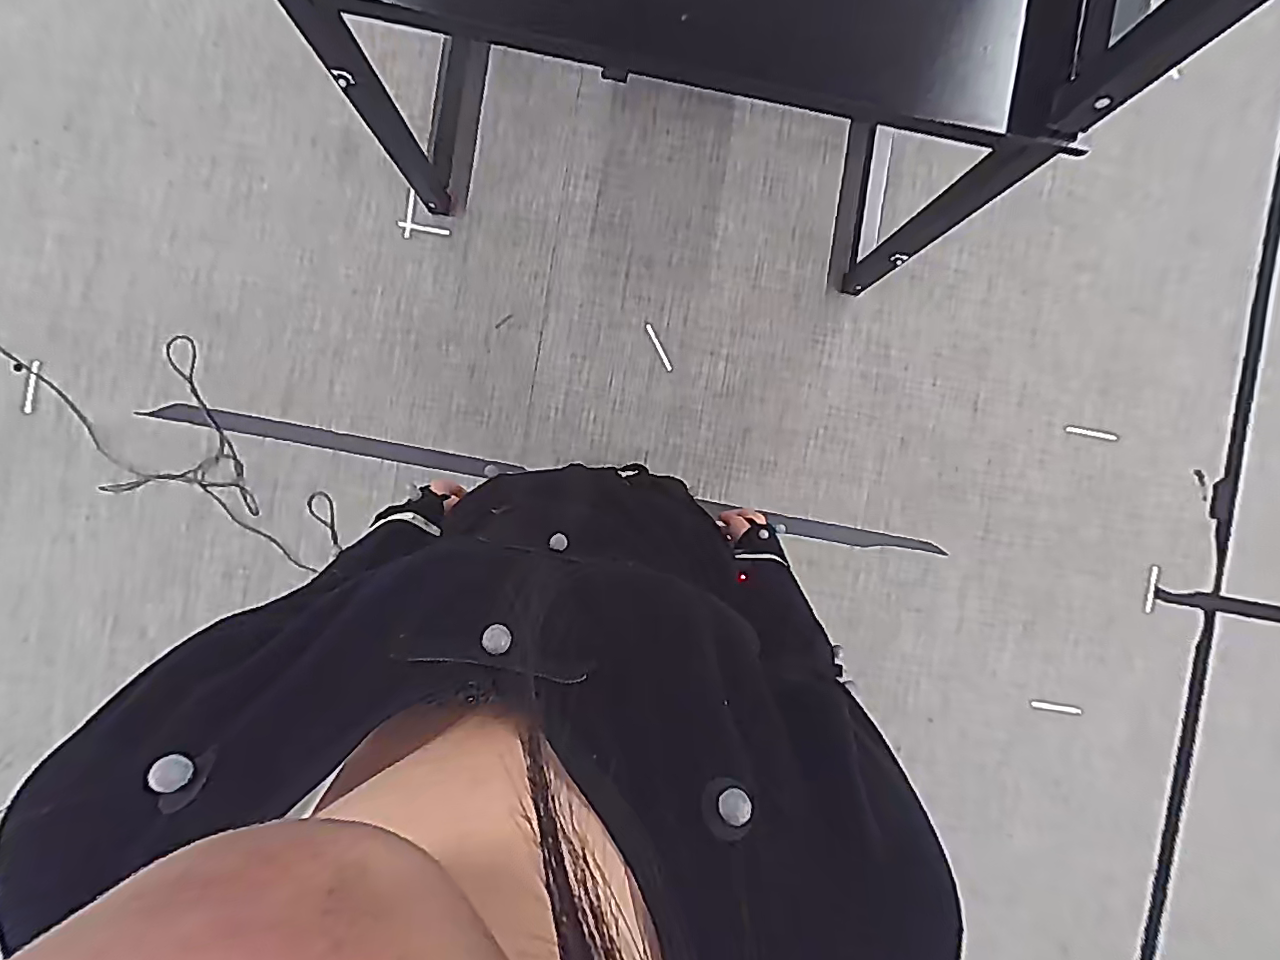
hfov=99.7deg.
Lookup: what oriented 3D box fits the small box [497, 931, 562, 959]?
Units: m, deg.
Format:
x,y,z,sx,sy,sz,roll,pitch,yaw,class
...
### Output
x,y,z,sx,sy,sz,roll,pitch,yaw,class
-0.294,1.320,1.407,0.168,0.176,0.179,1,91,-4,small box
